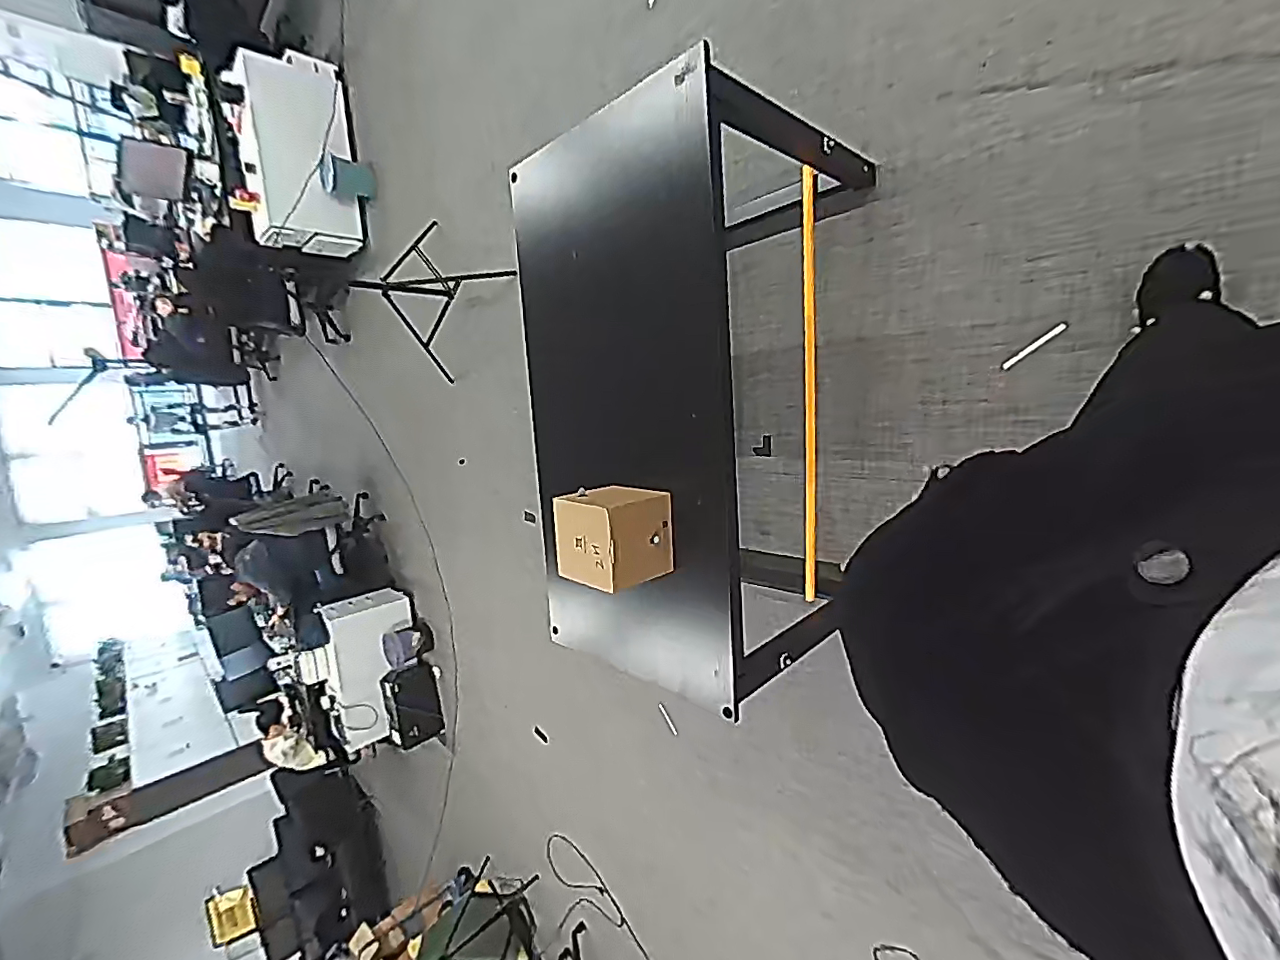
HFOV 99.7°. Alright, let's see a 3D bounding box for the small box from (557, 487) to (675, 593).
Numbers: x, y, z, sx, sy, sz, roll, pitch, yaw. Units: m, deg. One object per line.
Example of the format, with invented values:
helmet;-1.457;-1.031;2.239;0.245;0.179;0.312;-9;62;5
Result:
small box;-0.047;0.111;1.101;0.179;0.176;0.168;7;104;45
